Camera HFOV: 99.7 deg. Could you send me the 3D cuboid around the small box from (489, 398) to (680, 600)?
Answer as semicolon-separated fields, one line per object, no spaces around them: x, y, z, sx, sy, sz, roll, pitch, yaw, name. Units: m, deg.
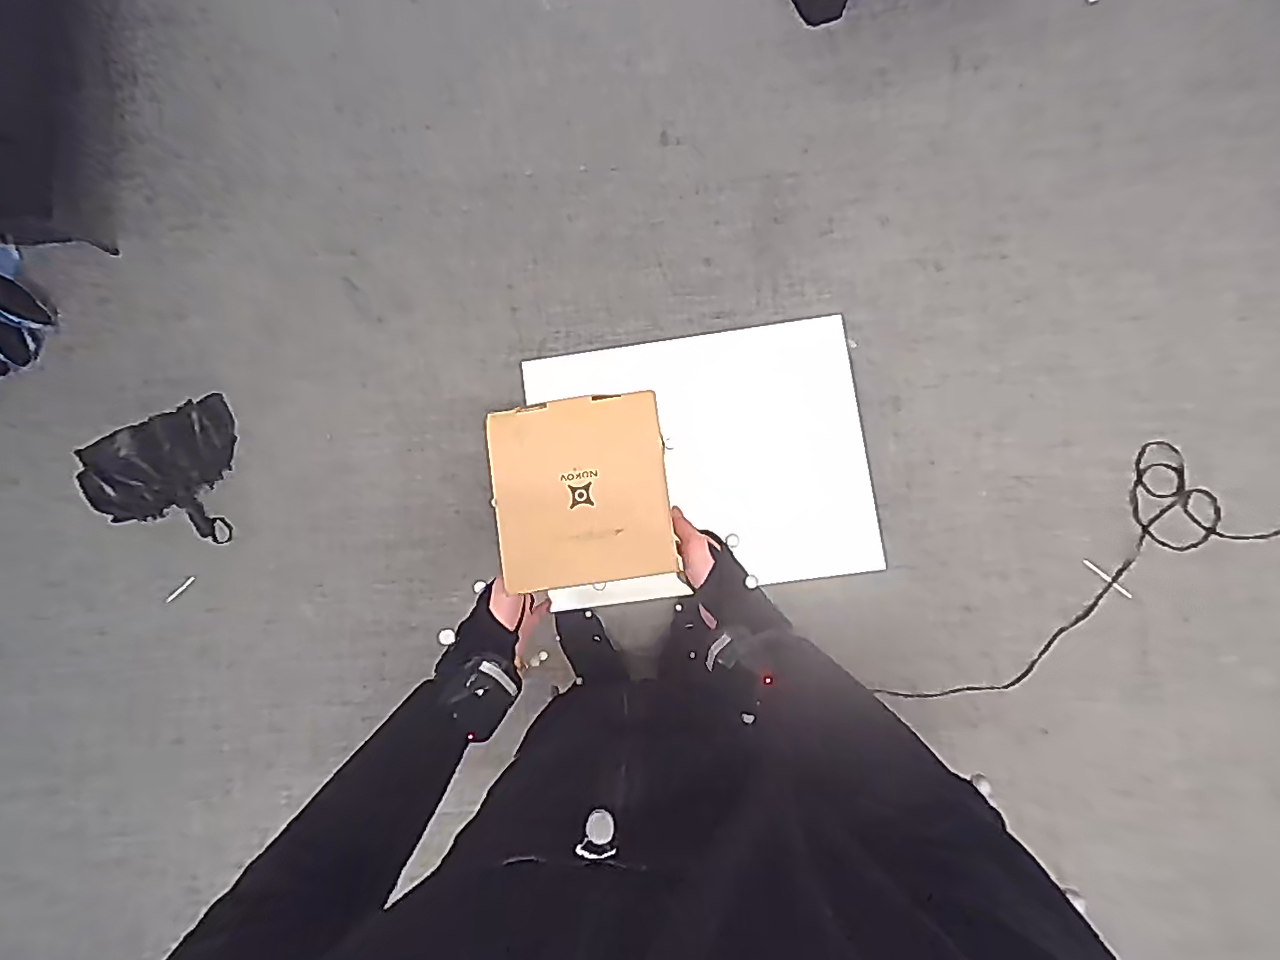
-0.050;0.026;0.587;0.168;0.176;0.179;-9;84;4;small box
